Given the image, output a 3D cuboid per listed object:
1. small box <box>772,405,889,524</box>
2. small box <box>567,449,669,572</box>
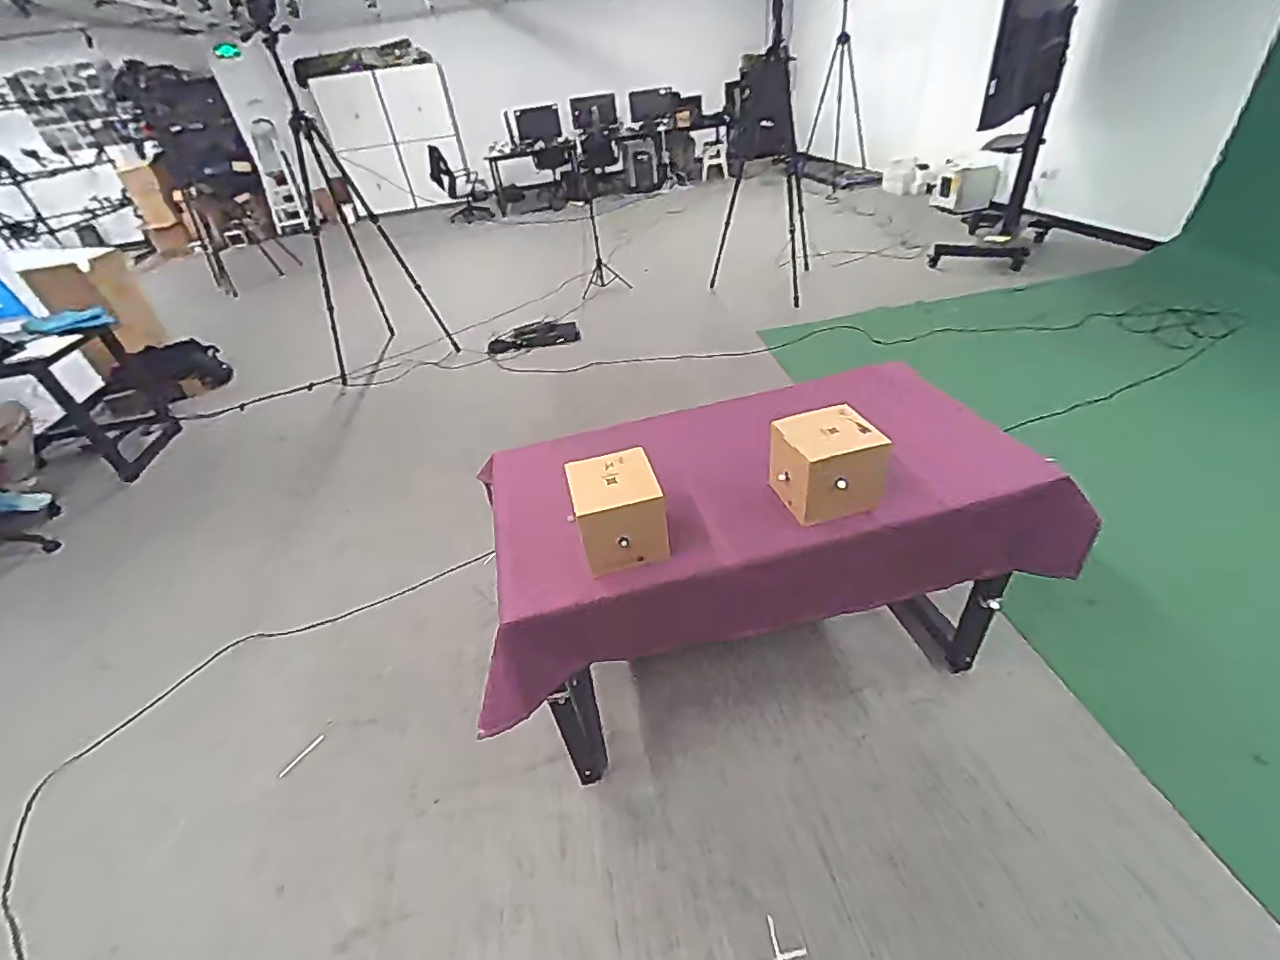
[{"bbox_3d":[0.392,-0.030,1.137,0.179,0.176,0.168,-15,38,-6],"label":"small box"},{"bbox_3d":[-0.043,0.067,1.096,0.168,0.176,0.179,-13,37,-6],"label":"small box"}]
